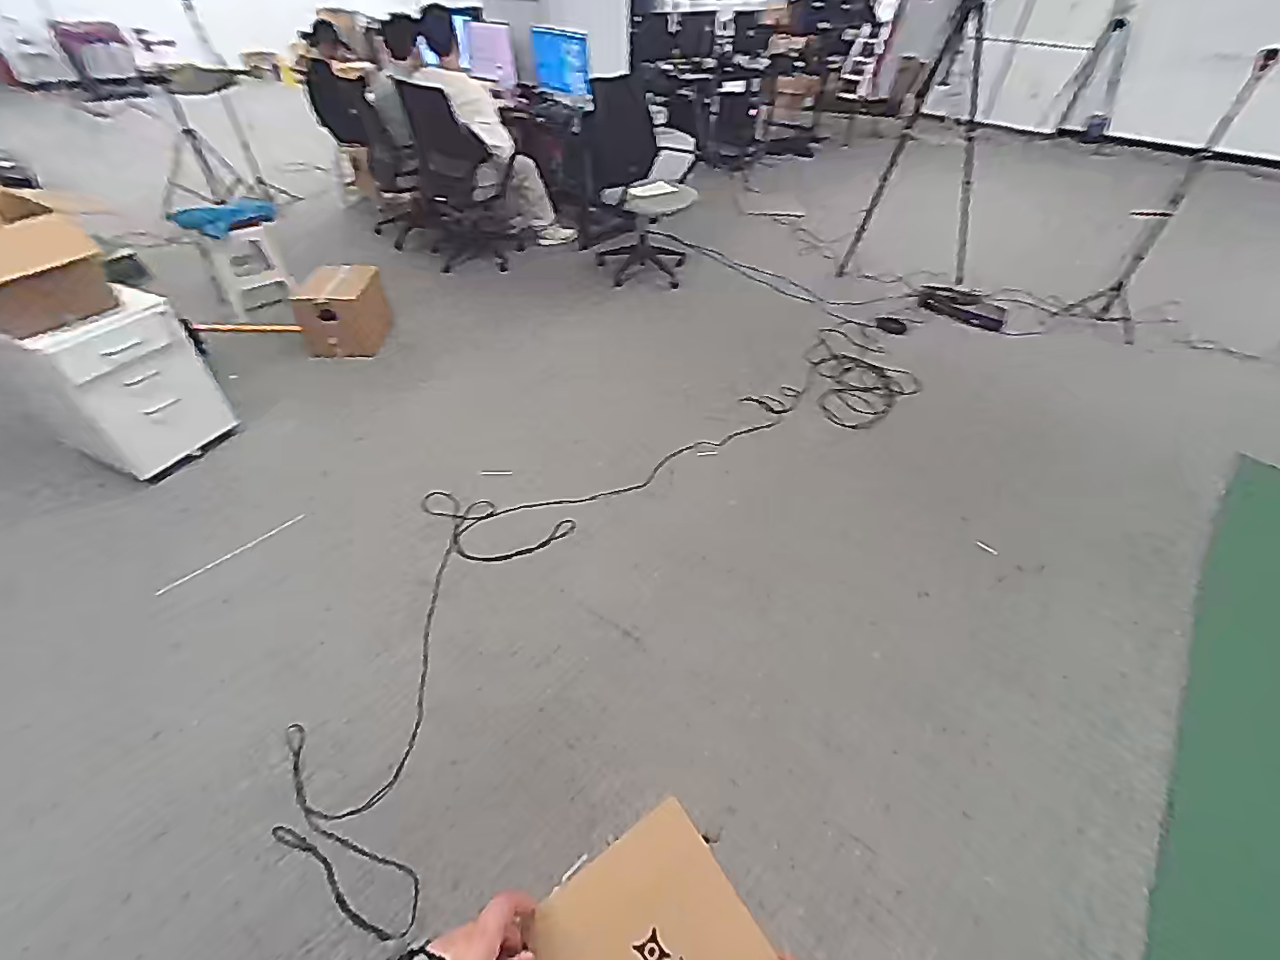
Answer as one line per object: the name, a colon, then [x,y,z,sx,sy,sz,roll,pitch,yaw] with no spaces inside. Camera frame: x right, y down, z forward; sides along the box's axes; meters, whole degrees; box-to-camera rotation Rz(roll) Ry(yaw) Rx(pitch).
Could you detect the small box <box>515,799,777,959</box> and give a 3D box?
small box: [0.018,0.427,0.487,0.168,0.176,0.179,-35,59,-14]
